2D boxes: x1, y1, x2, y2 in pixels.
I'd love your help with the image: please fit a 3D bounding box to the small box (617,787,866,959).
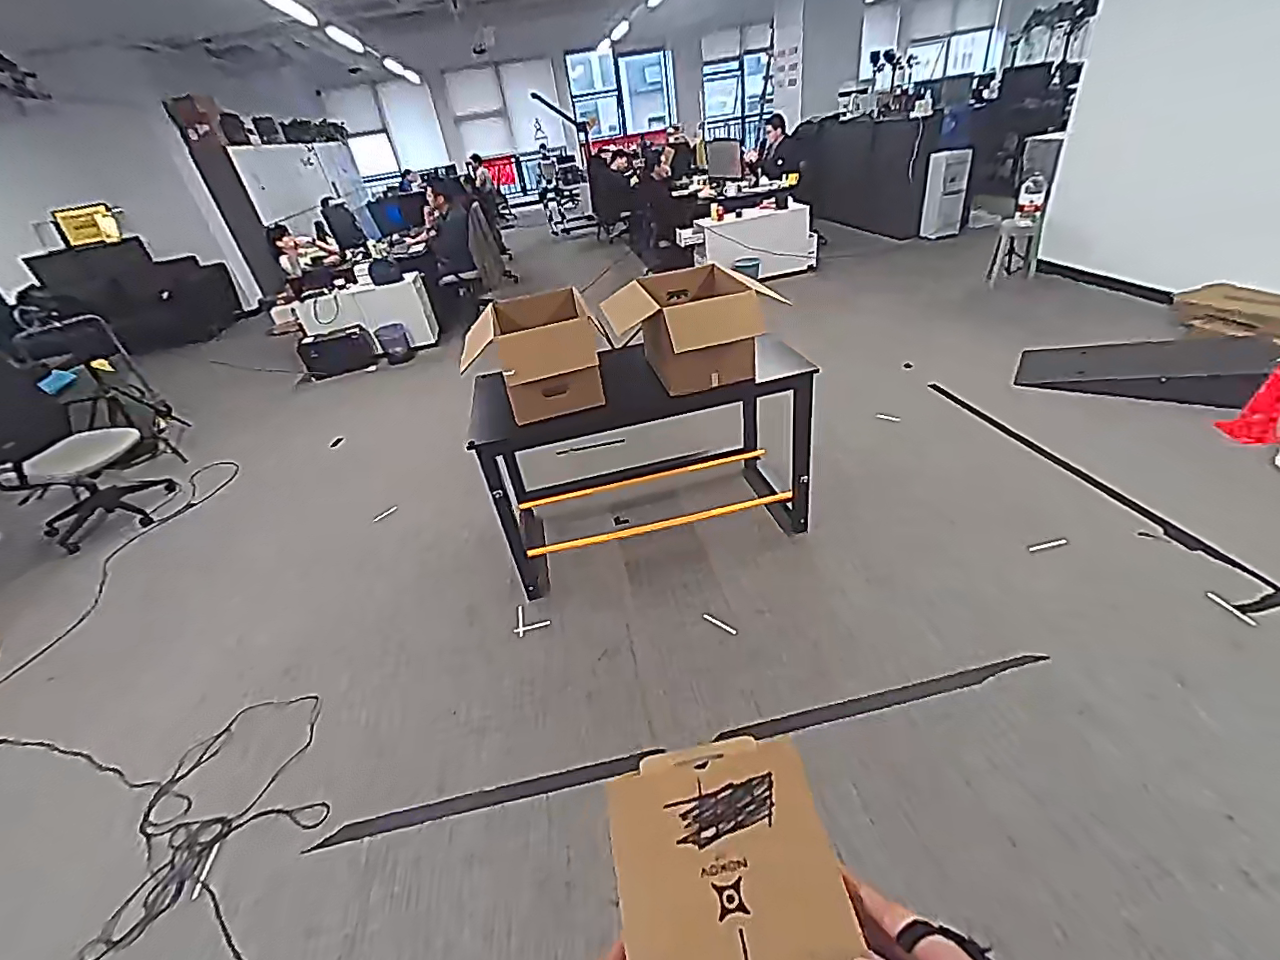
[{"bbox_3d":[0.081,0.384,0.443,0.168,0.176,0.179,-12,47,-2],"label":"small box"}]
